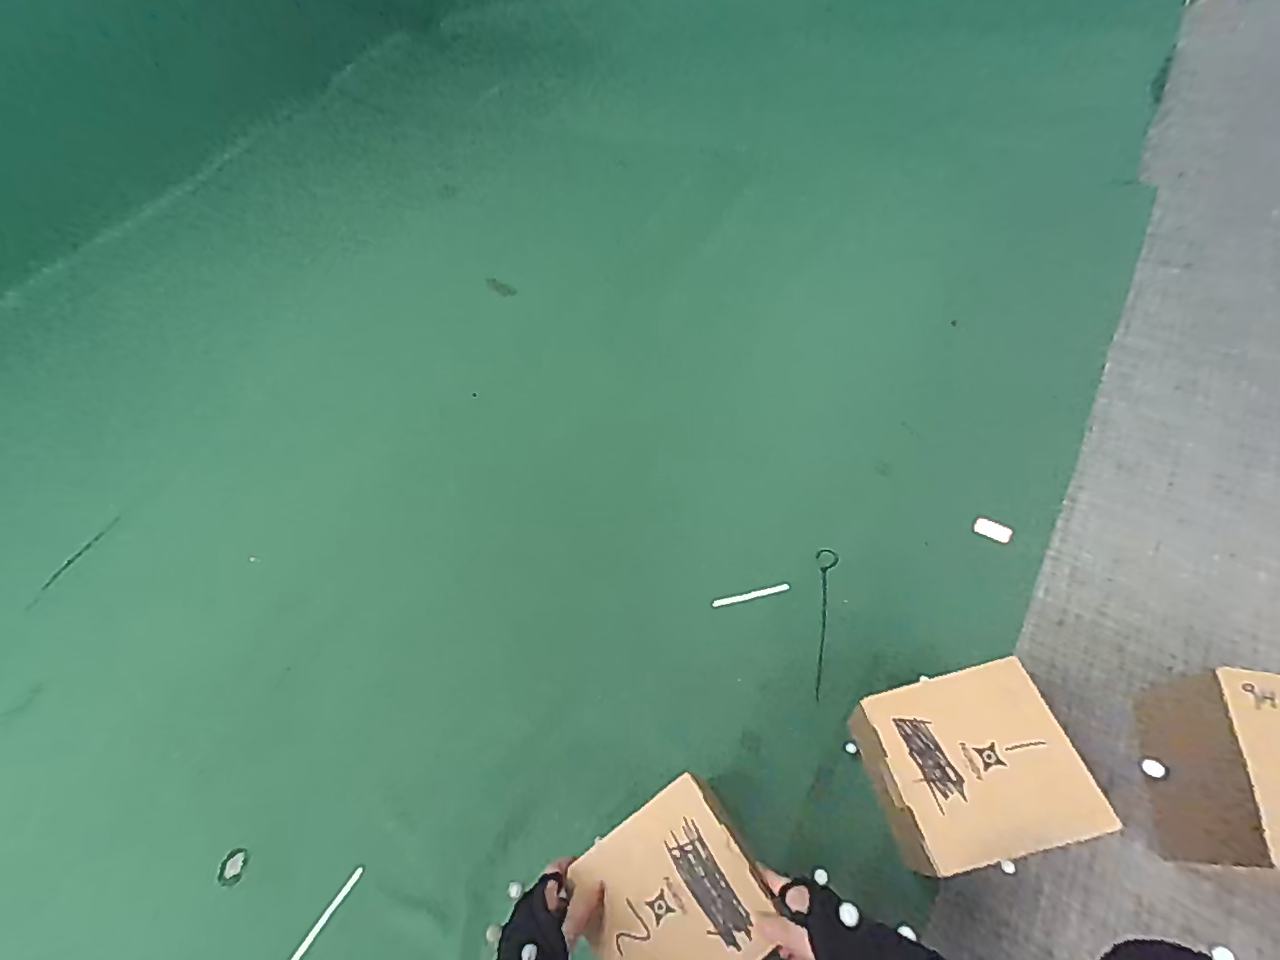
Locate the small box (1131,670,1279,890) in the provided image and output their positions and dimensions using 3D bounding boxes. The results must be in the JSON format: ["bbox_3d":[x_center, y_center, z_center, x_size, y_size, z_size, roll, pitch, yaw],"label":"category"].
[{"bbox_3d":[0.646,0.312,0.543,0.168,0.176,0.179,6,60,18],"label":"small box"}]

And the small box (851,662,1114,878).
[{"bbox_3d":[0.354,0.328,0.609,0.179,0.176,0.168,-17,55,3],"label":"small box"}]
